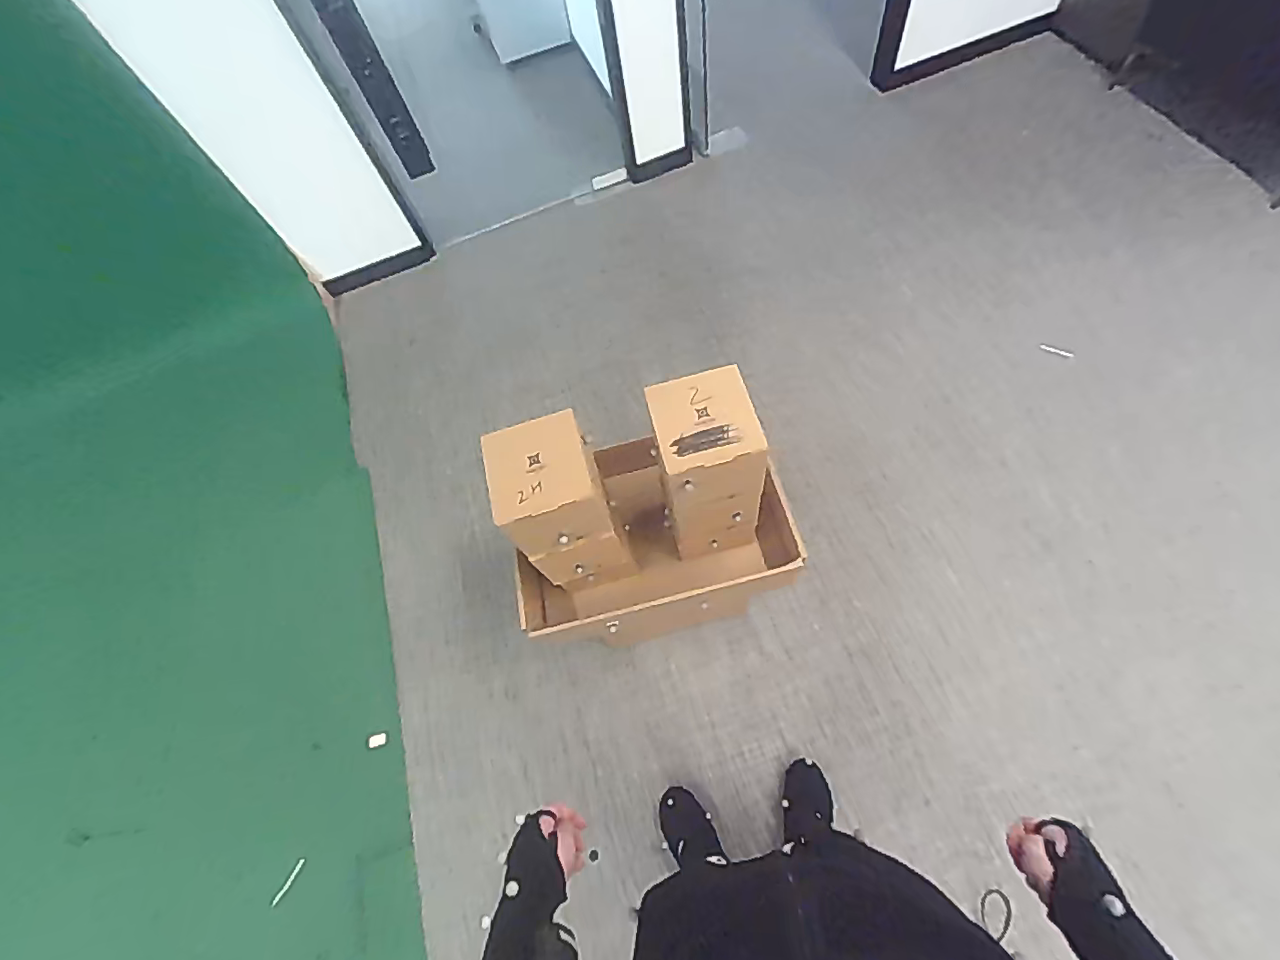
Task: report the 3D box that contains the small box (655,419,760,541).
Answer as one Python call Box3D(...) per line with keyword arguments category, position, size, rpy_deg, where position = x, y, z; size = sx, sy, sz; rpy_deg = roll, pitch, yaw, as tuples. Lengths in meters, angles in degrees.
Box3D(category="small box", position=(0.135, 0.009, 1.084), size=(0.168, 0.176, 0.179), rpy_deg=(-14, 62, 1))

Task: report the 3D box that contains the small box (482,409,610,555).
Box3D(category="small box", position=(-0.159, 0.009, 0.946), size=(0.168, 0.176, 0.179), rpy_deg=(-17, 63, 1))

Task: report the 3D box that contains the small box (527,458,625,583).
Box3D(category="small box", position=(-0.136, 0.086, 1.090), size=(0.168, 0.176, 0.179), rpy_deg=(-17, 63, 0))

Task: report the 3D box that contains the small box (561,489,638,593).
Box3D(category="small box", position=(-0.114, 0.147, 1.240), size=(0.179, 0.176, 0.168), rpy_deg=(-16, 63, 0))
